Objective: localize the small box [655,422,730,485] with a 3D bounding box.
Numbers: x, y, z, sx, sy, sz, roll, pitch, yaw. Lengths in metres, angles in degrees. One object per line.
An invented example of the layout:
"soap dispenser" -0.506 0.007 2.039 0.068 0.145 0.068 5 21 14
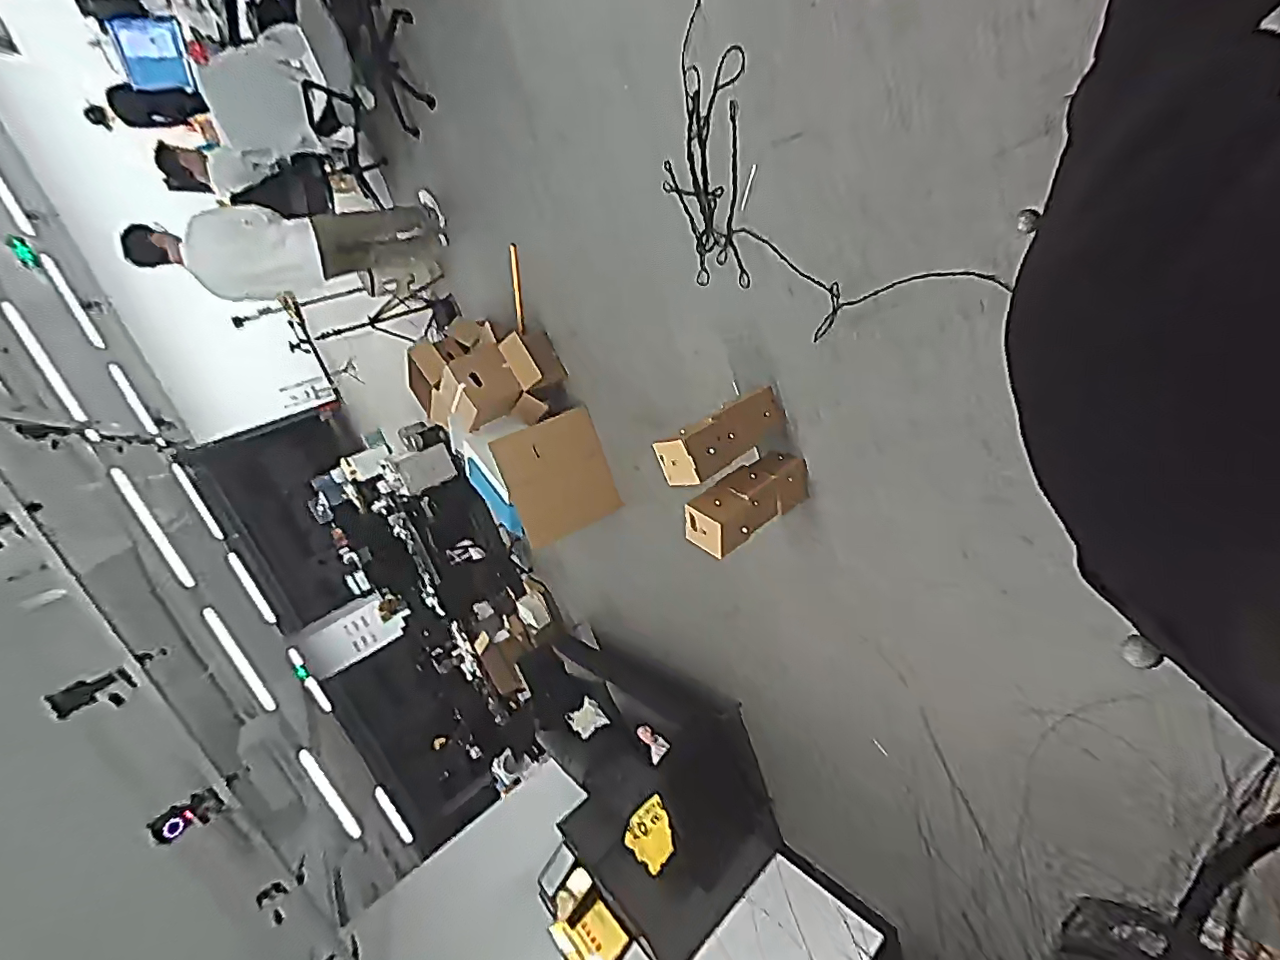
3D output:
"small box" 0.191 -0.094 1.885 0.179 0.176 0.168 -3 114 55

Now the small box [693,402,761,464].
"small box" 0.312 -0.162 1.972 0.168 0.176 0.179 -16 102 59

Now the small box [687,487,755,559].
"small box" 0.290 0.146 1.945 0.179 0.176 0.168 30 138 41

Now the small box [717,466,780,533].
"small box" 0.410 0.074 2.032 0.168 0.176 0.179 27 136 45

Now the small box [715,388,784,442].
"small box" 0.425 -0.238 2.061 0.179 0.176 0.168 -7 109 59
